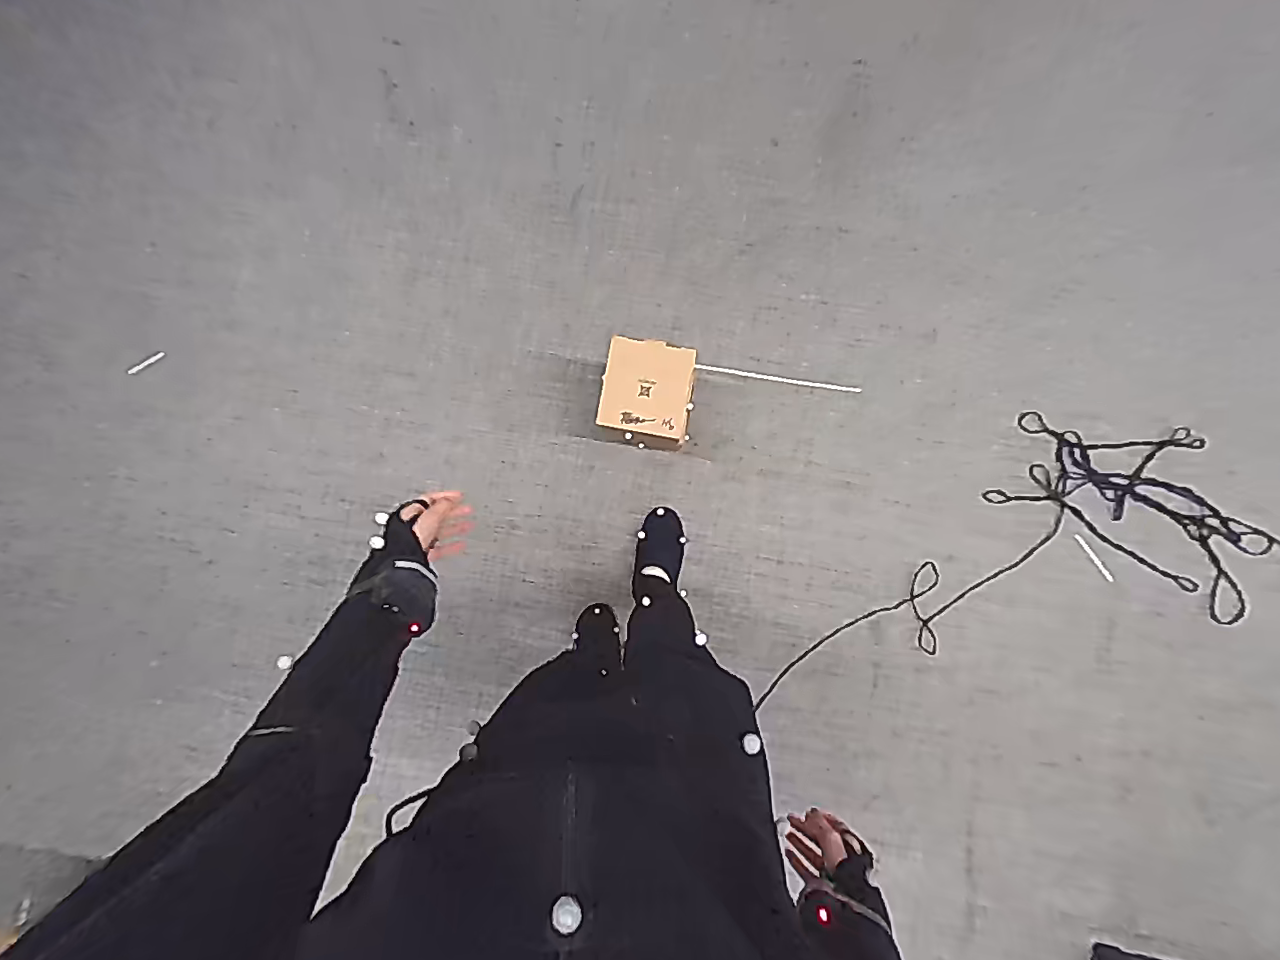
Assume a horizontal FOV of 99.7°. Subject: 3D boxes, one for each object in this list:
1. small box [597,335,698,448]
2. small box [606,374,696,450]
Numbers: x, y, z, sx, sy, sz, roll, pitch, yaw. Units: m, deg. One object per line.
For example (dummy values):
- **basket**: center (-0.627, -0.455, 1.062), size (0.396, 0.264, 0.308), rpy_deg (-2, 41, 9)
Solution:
- **small box**: center (0.015, -0.172, 1.098), size (0.168, 0.176, 0.179), rpy_deg (11, 88, 2)
- **small box**: center (0.027, -0.167, 1.261), size (0.179, 0.176, 0.168), rpy_deg (9, 88, 3)
